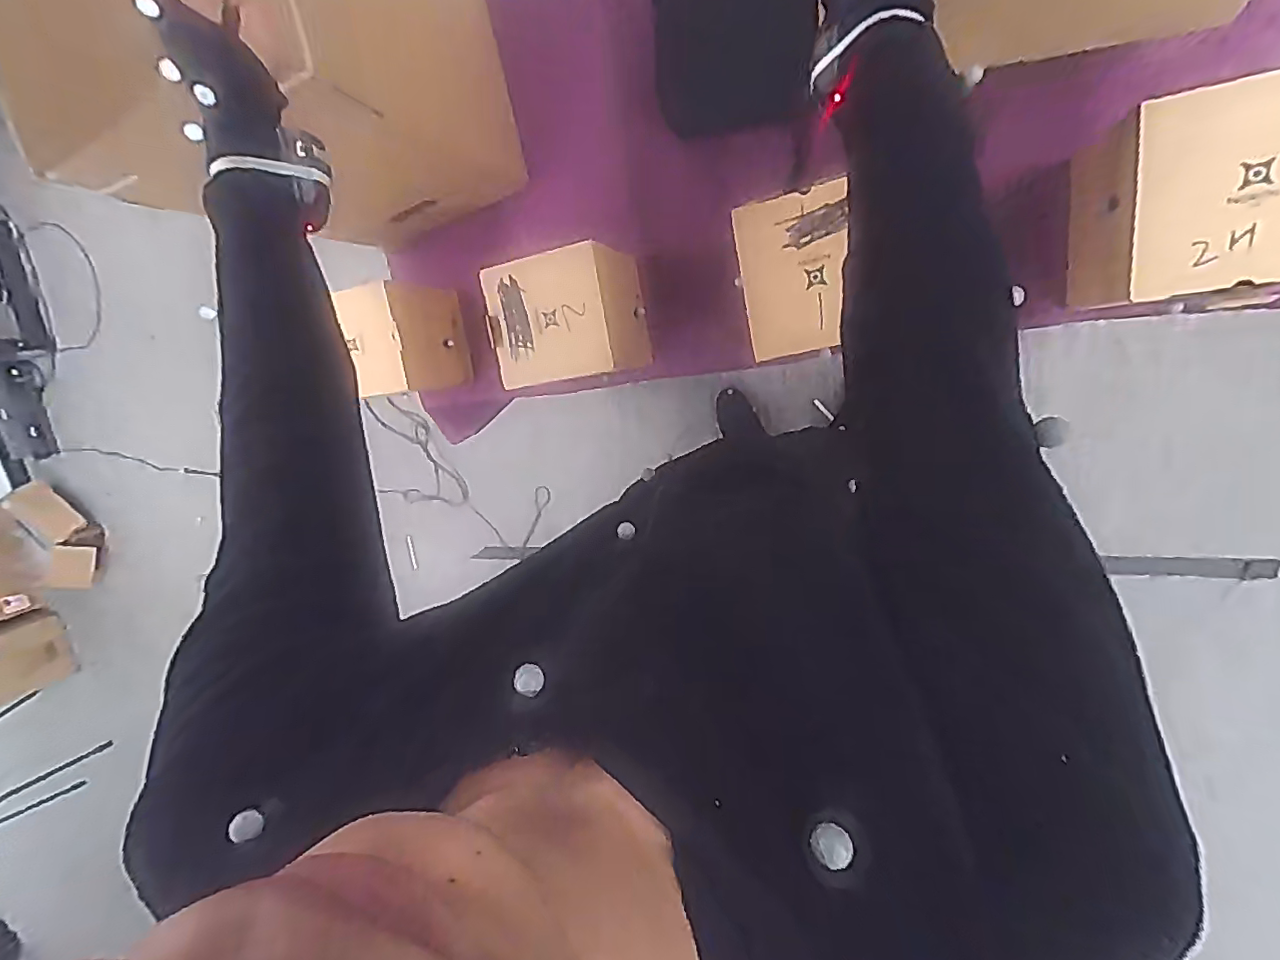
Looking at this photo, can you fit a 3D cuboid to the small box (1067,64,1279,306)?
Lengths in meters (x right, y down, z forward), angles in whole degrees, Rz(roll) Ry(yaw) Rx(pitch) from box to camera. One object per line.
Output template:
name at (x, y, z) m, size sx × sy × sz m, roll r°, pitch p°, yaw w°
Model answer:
small box at (0.555, -0.278, 0.538) m, size 0.168 × 0.176 × 0.179 m, roll -2°, pitch 103°, yaw 22°

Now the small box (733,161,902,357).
small box at (0.221, -0.257, 0.671) m, size 0.168 × 0.176 × 0.179 m, roll -7°, pitch 103°, yaw 23°

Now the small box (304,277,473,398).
small box at (-0.417, -0.235, 0.916) m, size 0.179 × 0.176 × 0.168 m, roll -4°, pitch 103°, yaw 20°
